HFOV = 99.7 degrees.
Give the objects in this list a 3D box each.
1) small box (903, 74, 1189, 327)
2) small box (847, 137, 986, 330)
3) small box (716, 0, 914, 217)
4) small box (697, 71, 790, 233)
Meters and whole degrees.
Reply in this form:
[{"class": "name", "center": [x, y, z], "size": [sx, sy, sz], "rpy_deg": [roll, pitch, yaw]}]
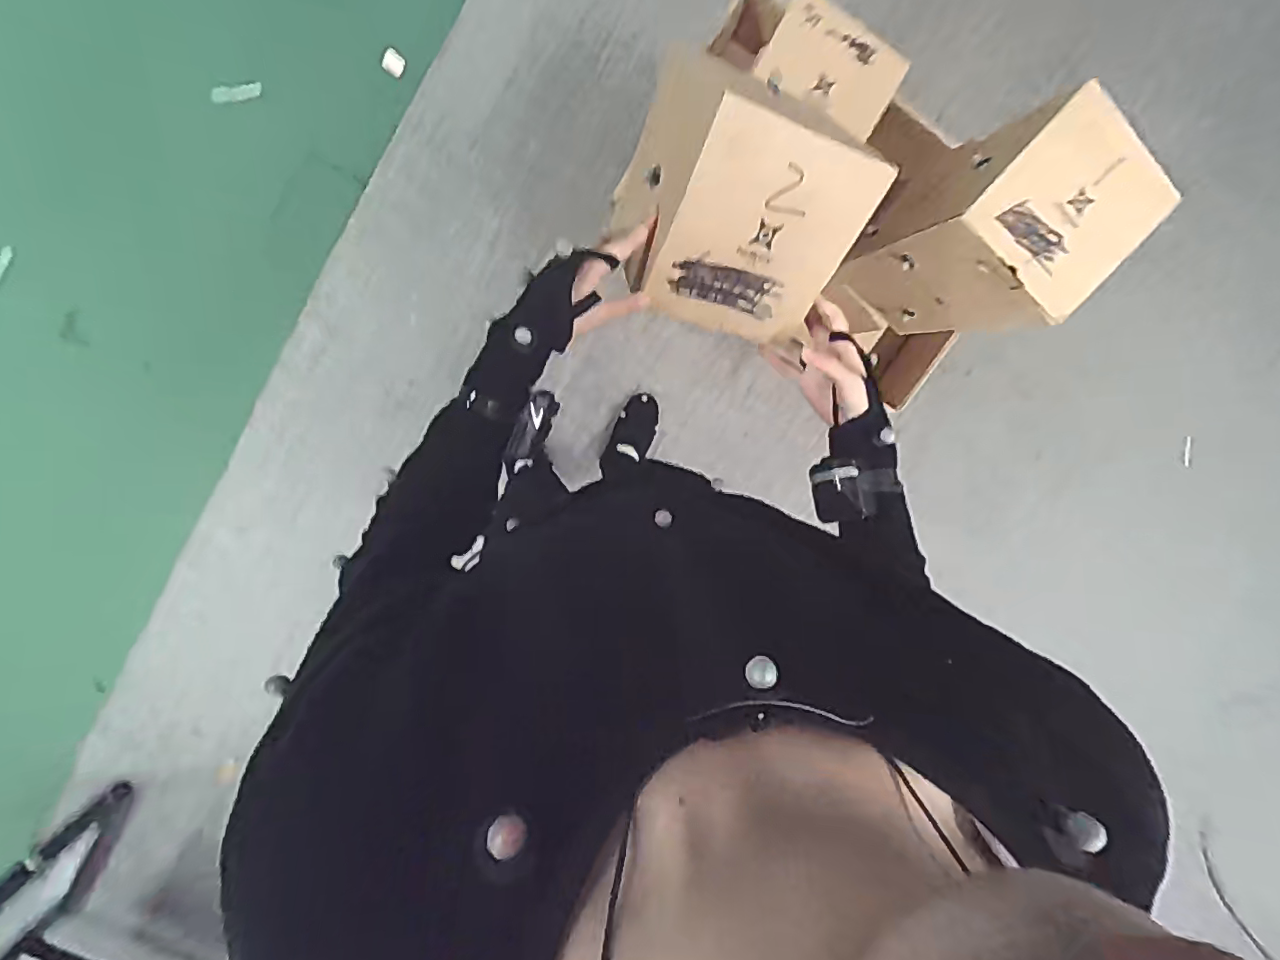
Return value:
[{"class": "small box", "center": [0.440, -0.296, 0.625], "size": [0.168, 0.176, 0.179], "rpy_deg": [42, 96, -11]}, {"class": "small box", "center": [0.429, -0.336, 0.783], "size": [0.168, 0.176, 0.179], "rpy_deg": [39, 97, -11]}, {"class": "small box", "center": [0.218, -0.493, 0.734], "size": [0.168, 0.176, 0.179], "rpy_deg": [30, 99, -10]}, {"class": "small box", "center": [0.209, -0.544, 0.891], "size": [0.168, 0.176, 0.179], "rpy_deg": [30, 99, -8]}]
